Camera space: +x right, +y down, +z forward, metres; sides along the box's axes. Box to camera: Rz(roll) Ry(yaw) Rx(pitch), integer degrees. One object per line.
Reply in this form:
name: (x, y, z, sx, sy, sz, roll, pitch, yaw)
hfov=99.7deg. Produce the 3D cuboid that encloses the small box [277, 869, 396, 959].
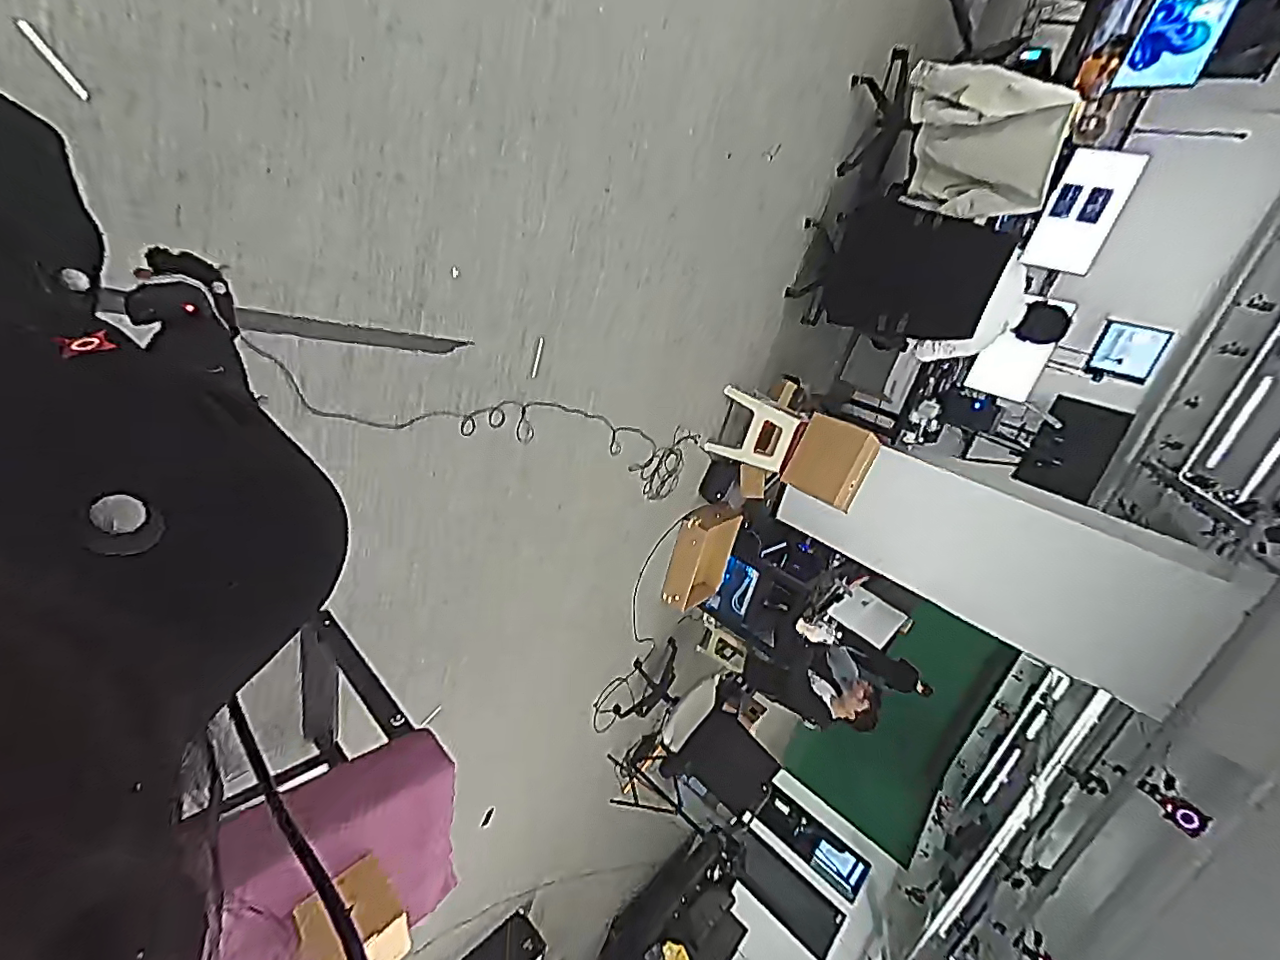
small box: (-0.645, 0.983, 1.152, 0.168, 0.176, 0.179, -21, 130, -44)
